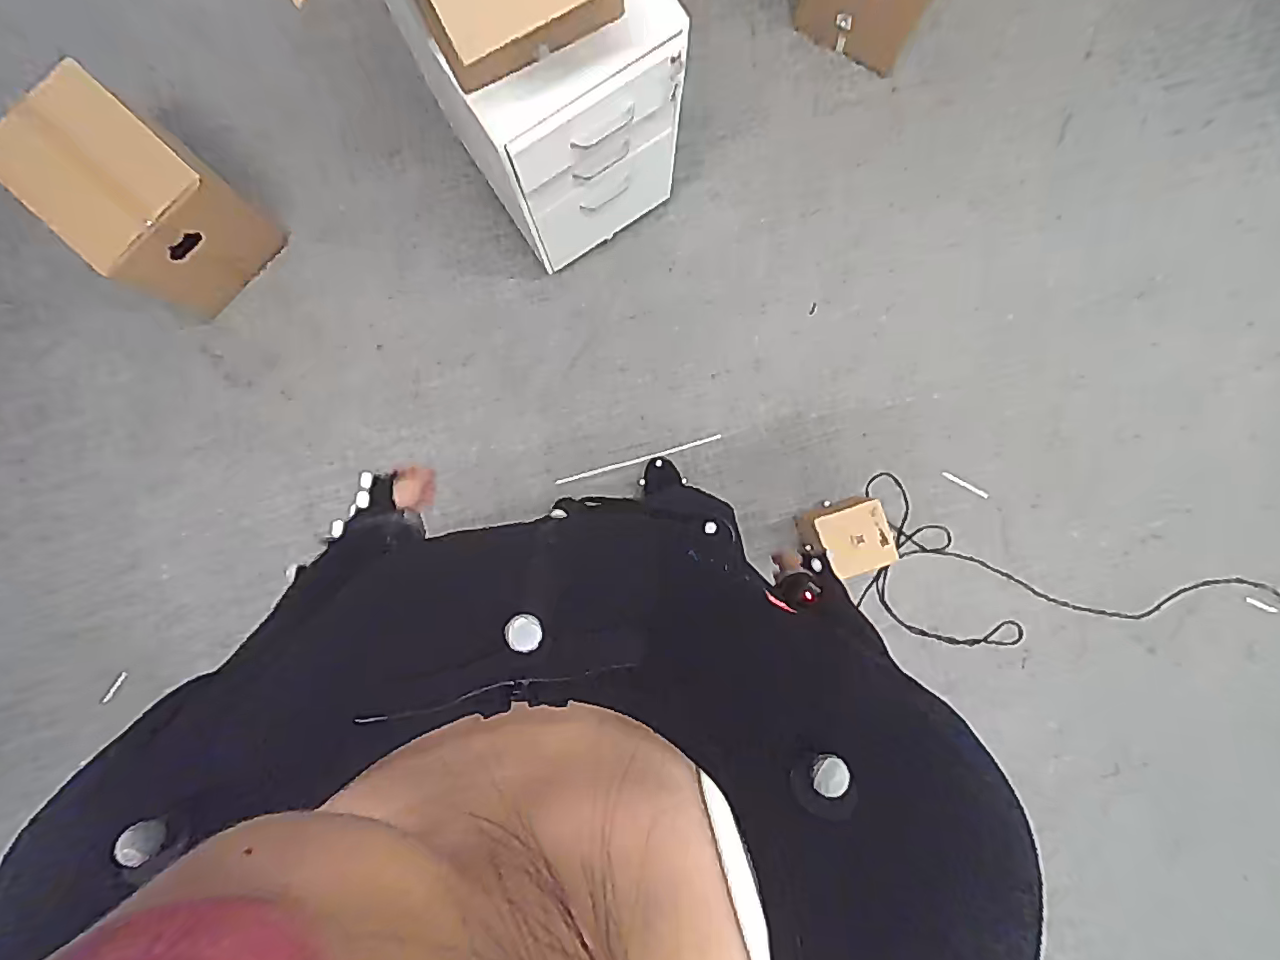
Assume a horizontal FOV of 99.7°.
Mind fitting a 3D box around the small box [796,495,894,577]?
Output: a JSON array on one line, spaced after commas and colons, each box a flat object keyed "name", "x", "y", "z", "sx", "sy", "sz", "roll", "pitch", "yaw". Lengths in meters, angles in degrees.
[{"name": "small box", "x": 0.525, "y": 0.141, "z": 1.419, "sx": 0.179, "sy": 0.176, "sz": 0.168, "roll": -18, "pitch": 90, "yaw": 0}]
